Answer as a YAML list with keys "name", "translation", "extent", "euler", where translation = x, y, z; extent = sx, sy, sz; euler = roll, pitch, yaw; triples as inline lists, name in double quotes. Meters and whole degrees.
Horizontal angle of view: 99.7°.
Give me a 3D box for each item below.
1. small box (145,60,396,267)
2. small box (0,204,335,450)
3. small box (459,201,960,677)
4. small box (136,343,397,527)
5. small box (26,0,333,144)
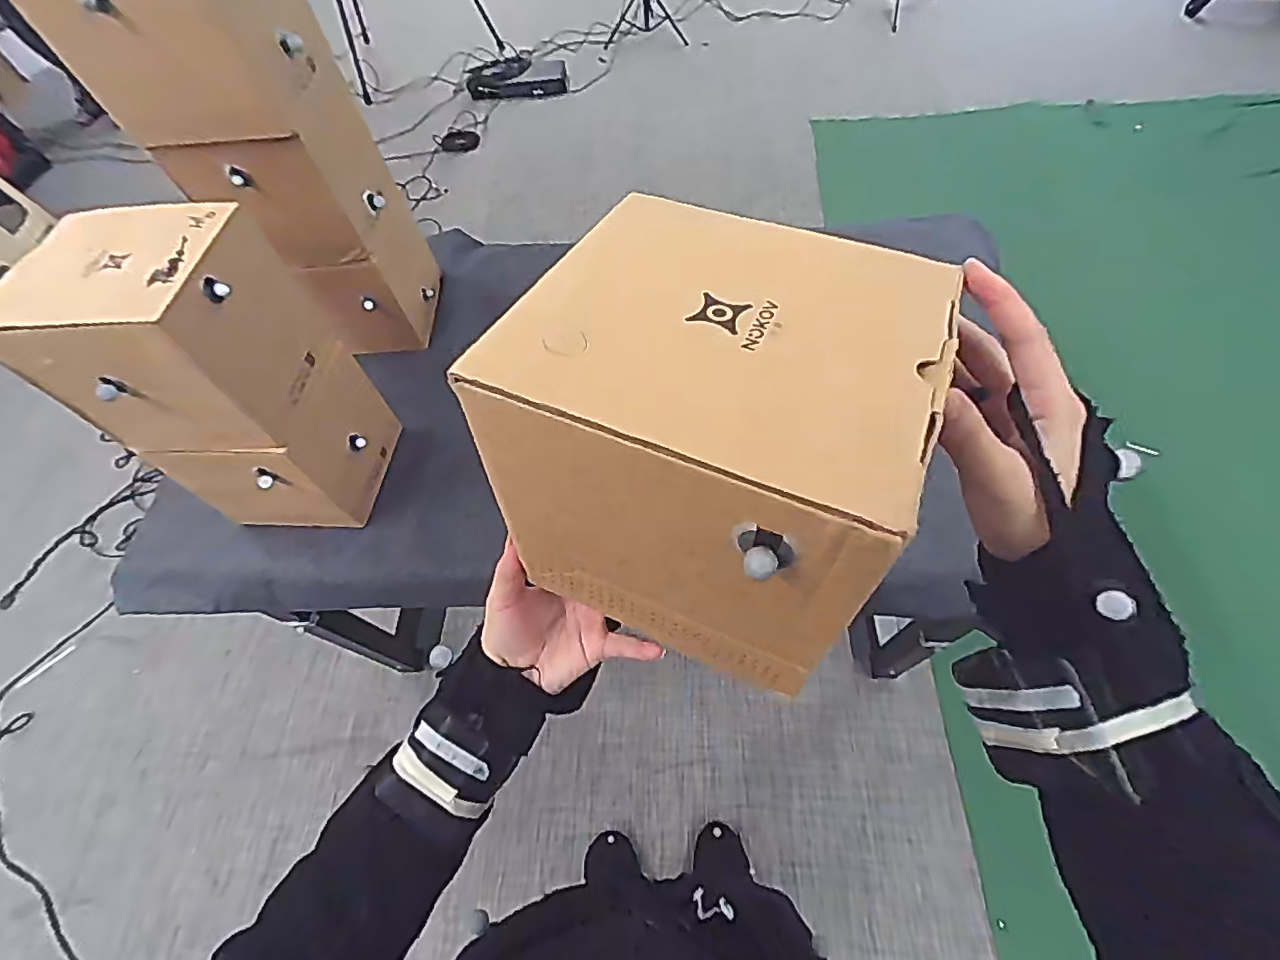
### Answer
- name: "small box"
  translation: [-0.442, -0.389, 0.683]
  extent: [0.179, 0.176, 0.168]
  euler: [-3, 62, 1]
- name: "small box"
  translation: [-0.450, -0.142, 0.535]
  extent: [0.179, 0.176, 0.168]
  euler: [-2, 58, 4]
- name: "small box"
  translation: [0.039, -0.019, 0.295]
  extent: [0.179, 0.176, 0.168]
  euler: [20, 55, 14]
- name: "small box"
  translation: [-0.435, -0.052, 0.671]
  extent: [0.179, 0.176, 0.168]
  euler: [1, 57, 5]
- name: "small box"
  translation: [-0.450, -0.461, 0.535]
  extent: [0.179, 0.176, 0.168]
  euler: [-2, 62, 3]
